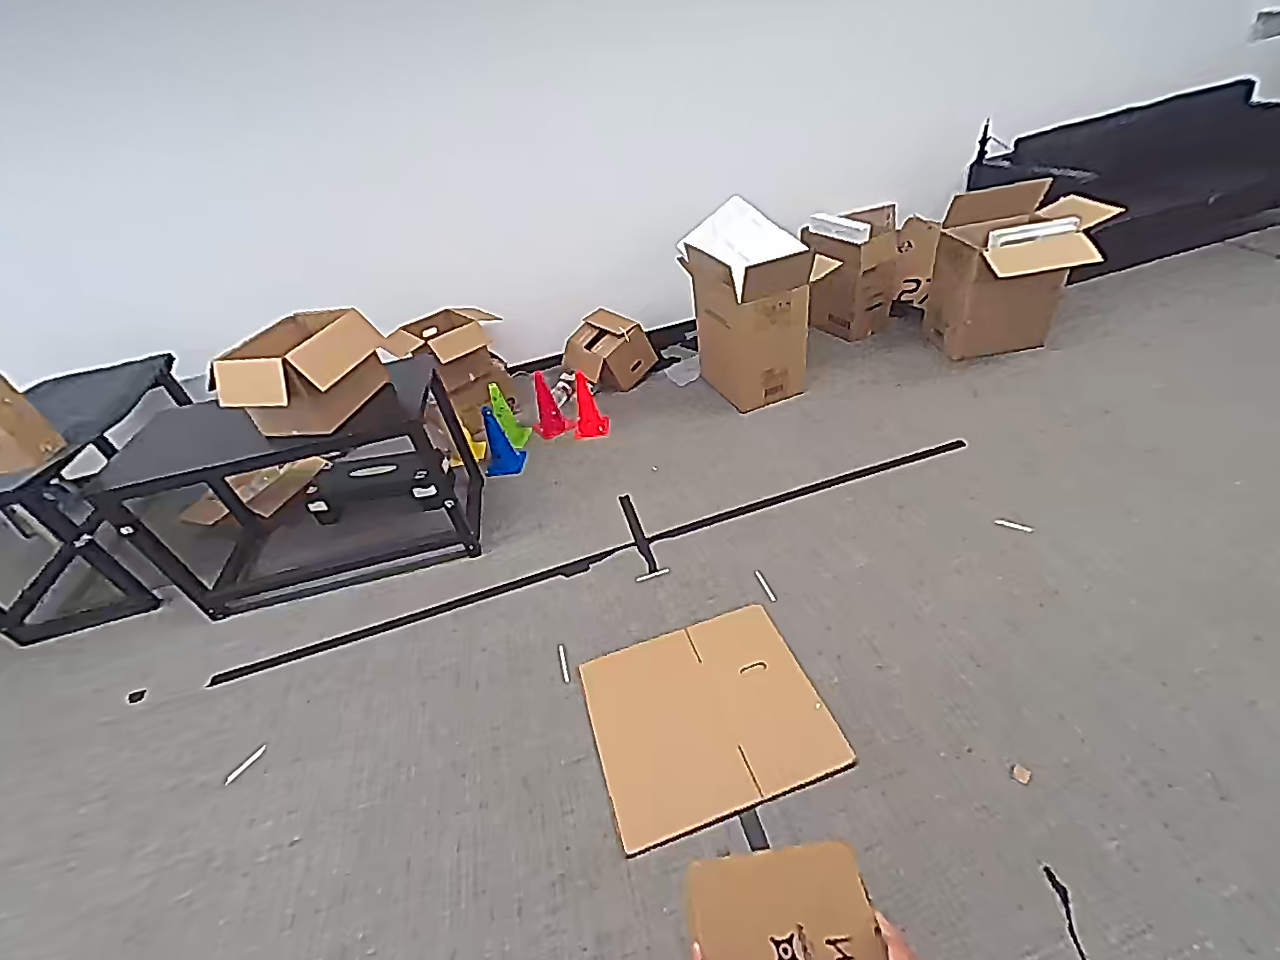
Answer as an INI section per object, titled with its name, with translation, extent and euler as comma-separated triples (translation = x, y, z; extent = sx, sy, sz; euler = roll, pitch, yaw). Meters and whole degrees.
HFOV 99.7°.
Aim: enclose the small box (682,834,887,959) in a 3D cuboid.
[small box]
translation = 0.141, 0.495, 0.560
extent = 0.179, 0.176, 0.168
euler = -5, 42, -5
